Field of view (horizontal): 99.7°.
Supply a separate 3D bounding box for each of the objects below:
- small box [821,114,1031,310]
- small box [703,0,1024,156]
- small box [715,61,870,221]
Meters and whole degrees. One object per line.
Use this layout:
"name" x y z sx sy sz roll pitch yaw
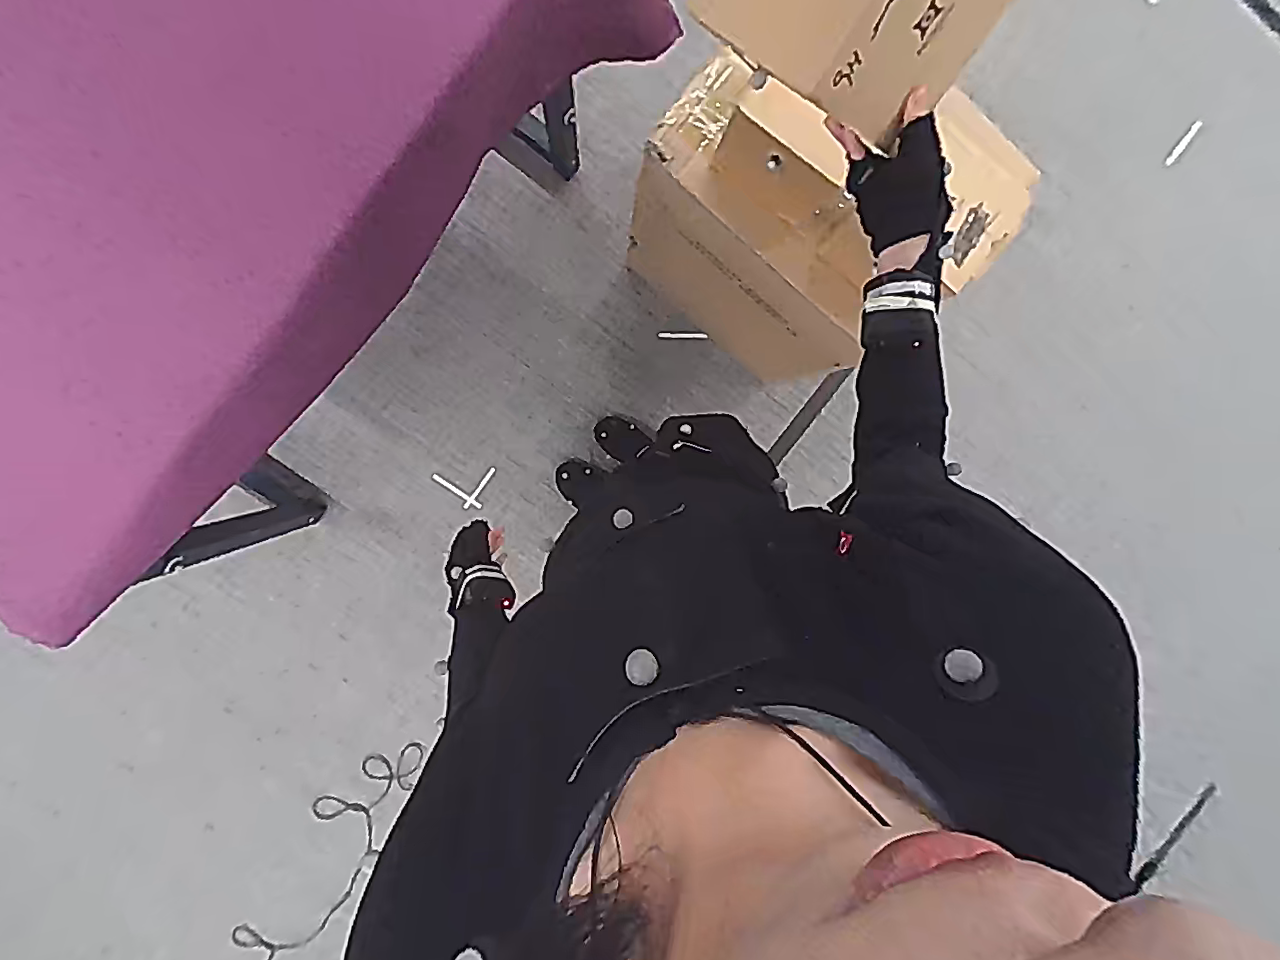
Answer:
"small box" 0.407 -0.375 0.801 0.179 0.176 0.168 38 92 -4
"small box" 0.189 -0.415 0.448 0.176 0.179 0.168 55 131 24
"small box" 0.230 -0.511 0.777 0.179 0.176 0.168 33 93 -8
